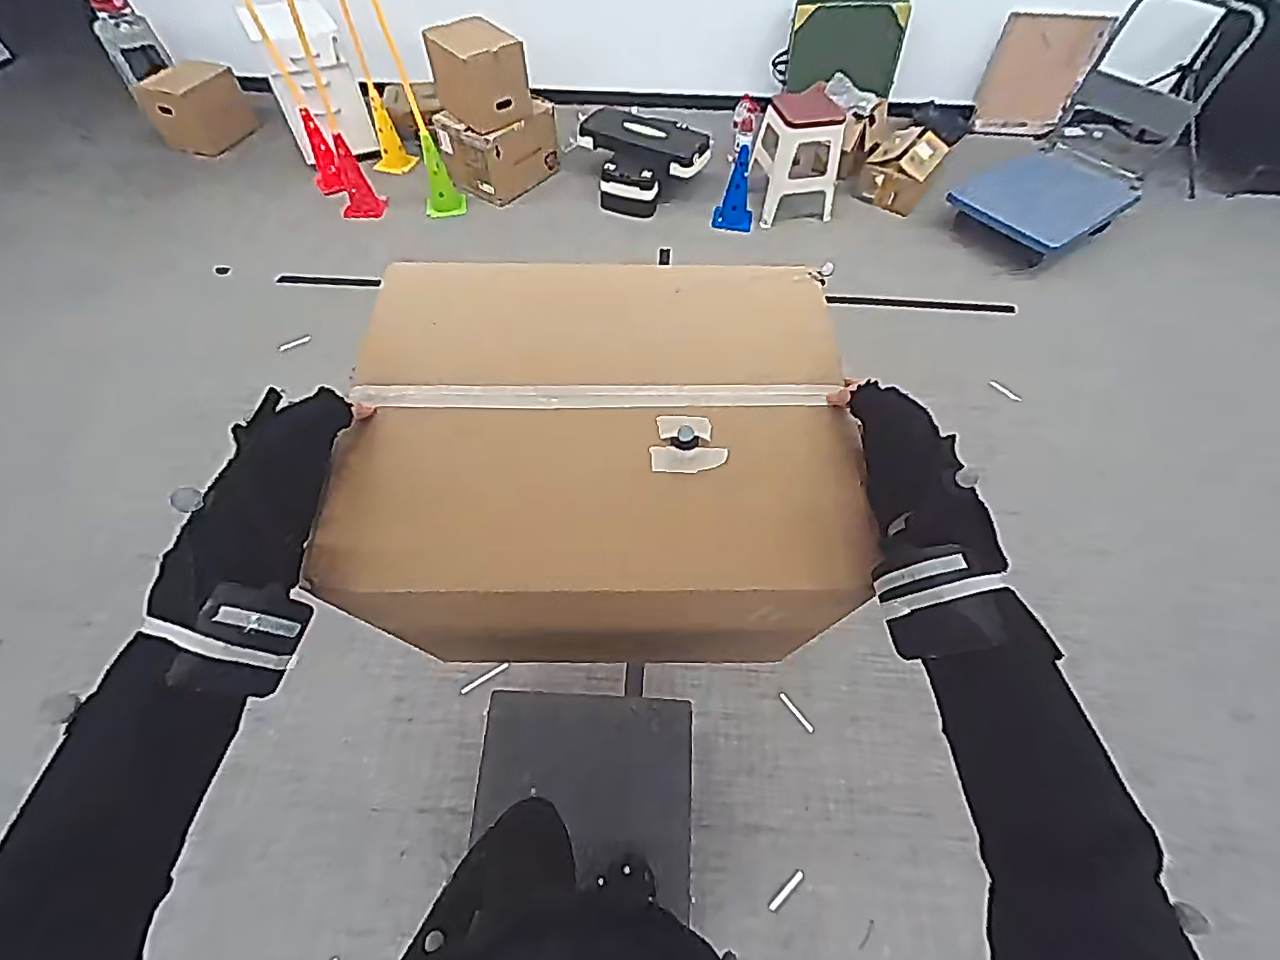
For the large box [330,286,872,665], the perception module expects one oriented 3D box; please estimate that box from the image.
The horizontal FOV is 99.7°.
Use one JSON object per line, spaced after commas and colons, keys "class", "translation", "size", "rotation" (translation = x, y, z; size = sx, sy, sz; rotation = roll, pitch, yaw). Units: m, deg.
{"class": "large box", "translation": [-0.033, 0.014, 0.591], "size": [0.408, 0.320, 0.320], "rotation": [0, 63, -1]}
